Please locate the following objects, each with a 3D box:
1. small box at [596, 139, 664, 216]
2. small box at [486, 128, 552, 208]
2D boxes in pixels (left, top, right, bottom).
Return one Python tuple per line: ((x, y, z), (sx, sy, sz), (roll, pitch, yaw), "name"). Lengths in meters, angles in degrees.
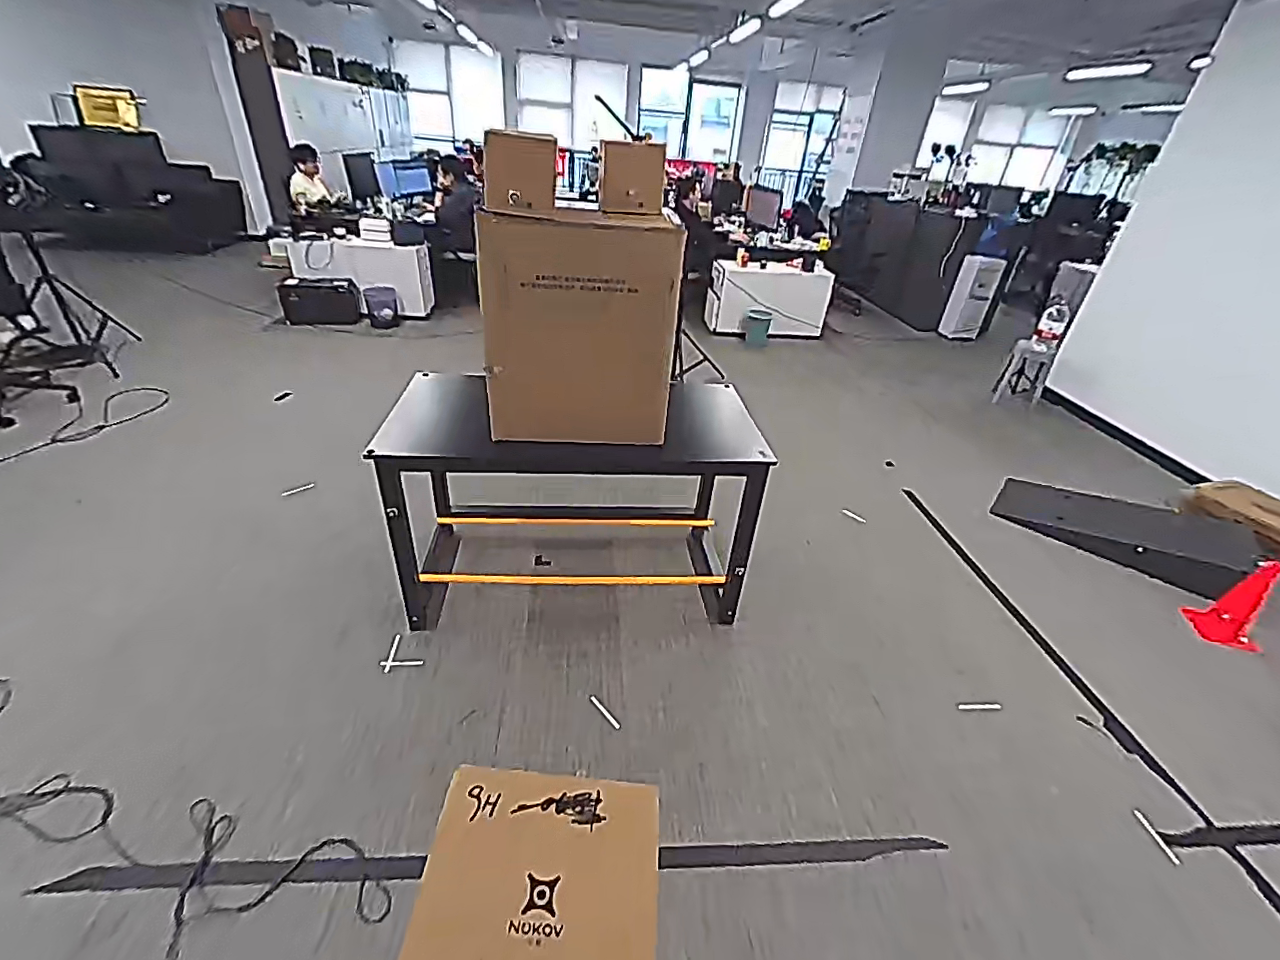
((-0.033, -0.837, 1.497), (0.168, 0.176, 0.179), (-2, 32, -8), "small box")
((-0.327, -0.857, 1.489), (0.168, 0.176, 0.179), (0, 31, -9), "small box")
